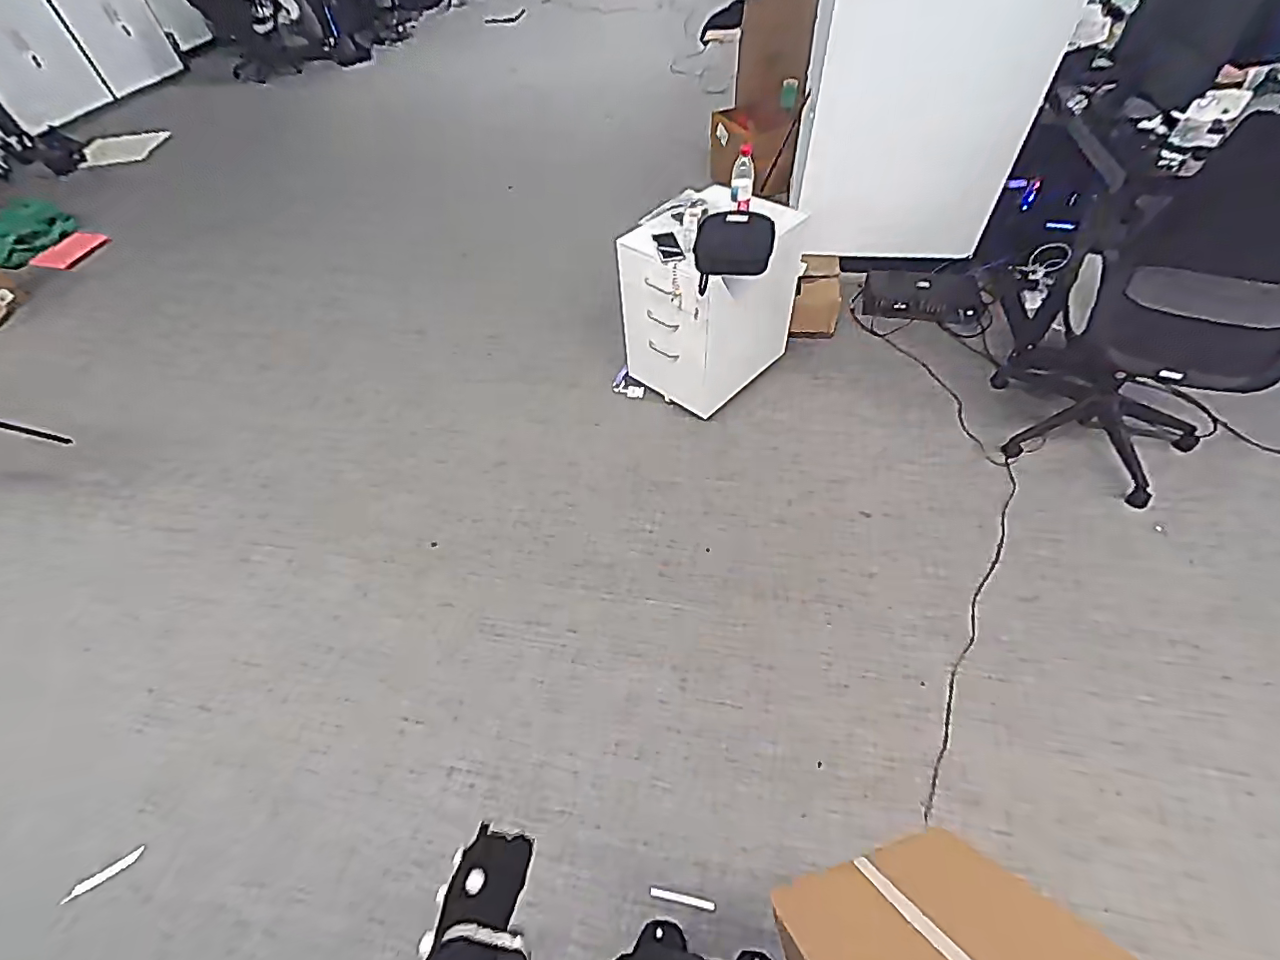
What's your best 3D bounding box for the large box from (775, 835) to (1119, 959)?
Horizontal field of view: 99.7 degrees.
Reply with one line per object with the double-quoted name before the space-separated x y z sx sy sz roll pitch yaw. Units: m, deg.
"large box" 0.414 0.727 0.648 0.320 0.408 0.320 -15 84 -9
